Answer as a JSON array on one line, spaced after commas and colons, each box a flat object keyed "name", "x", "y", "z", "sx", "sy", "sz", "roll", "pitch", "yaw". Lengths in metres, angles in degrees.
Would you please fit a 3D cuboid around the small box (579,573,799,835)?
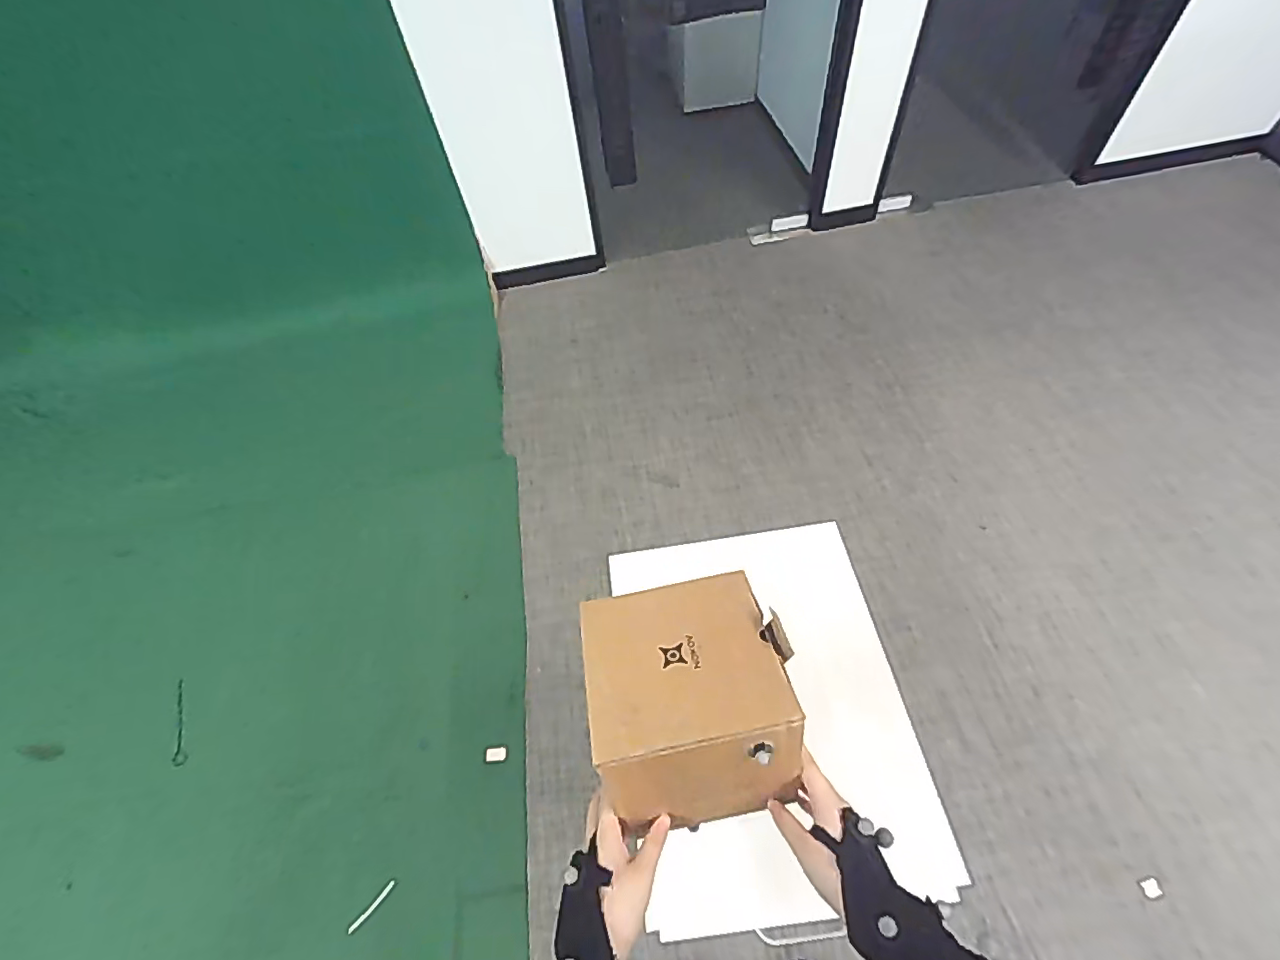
[{"name": "small box", "x": 0.044, "y": 0.223, "z": 0.540, "sx": 0.179, "sy": 0.176, "sz": 0.168, "roll": -11, "pitch": 38, "yaw": -3}]
